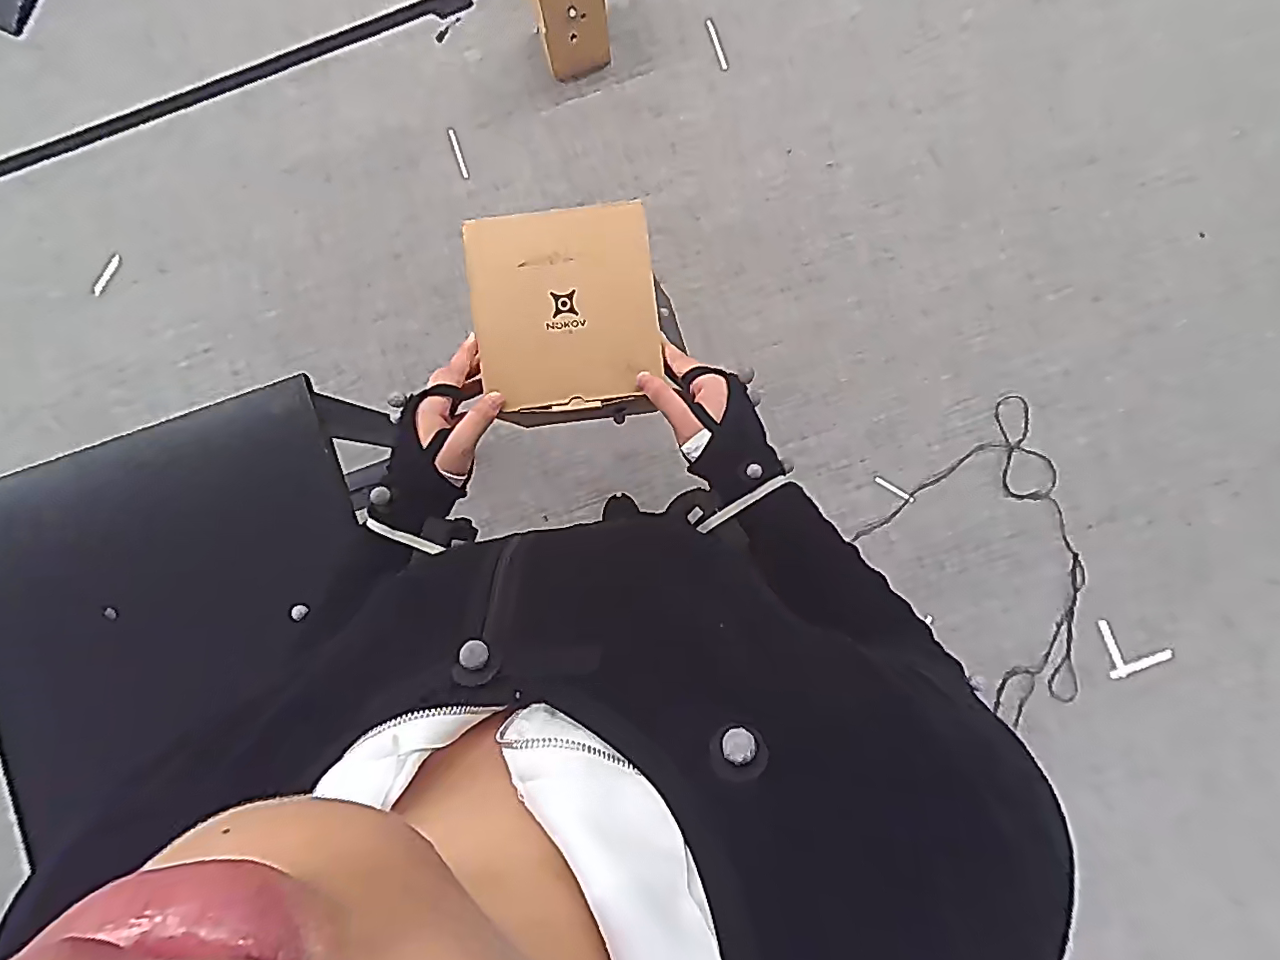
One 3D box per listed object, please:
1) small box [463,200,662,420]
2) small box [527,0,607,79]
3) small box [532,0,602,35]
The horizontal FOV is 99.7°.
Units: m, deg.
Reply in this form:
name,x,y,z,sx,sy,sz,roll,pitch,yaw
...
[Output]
name,x,y,z,sx,sy,sz,roll,pitch,yaw
small box,-0.069,-0.158,0.564,0.168,0.176,0.179,-7,91,-2
small box,-0.199,-1.245,1.471,0.179,0.176,0.168,-18,89,0
small box,-0.198,-1.244,1.307,0.168,0.176,0.179,-19,89,0
